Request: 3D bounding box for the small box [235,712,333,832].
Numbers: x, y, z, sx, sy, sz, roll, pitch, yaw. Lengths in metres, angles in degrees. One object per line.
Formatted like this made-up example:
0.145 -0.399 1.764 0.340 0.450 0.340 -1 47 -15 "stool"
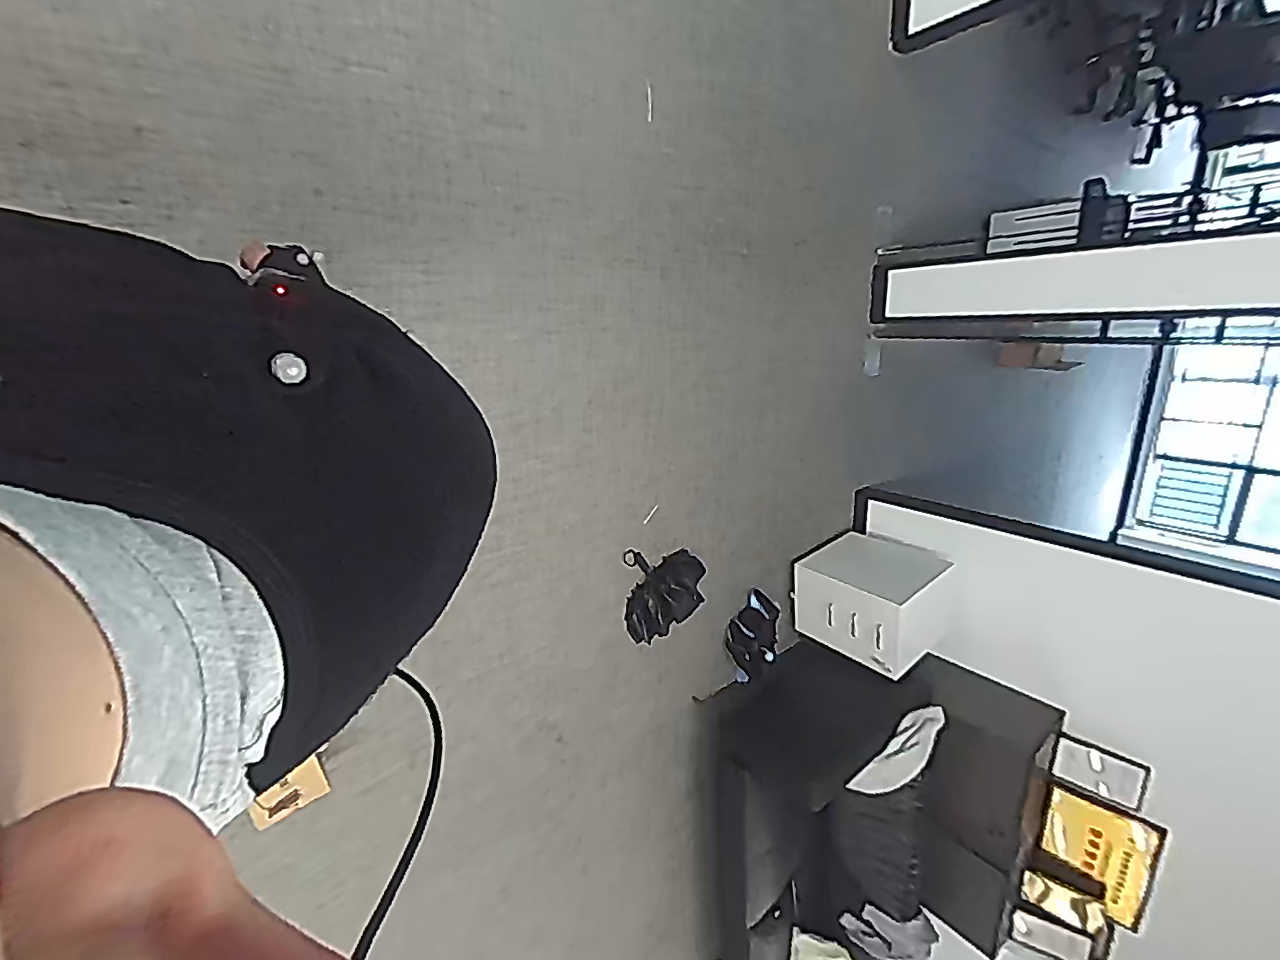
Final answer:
-0.929 0.751 1.410 0.168 0.176 0.179 -23 115 -34 "small box"
